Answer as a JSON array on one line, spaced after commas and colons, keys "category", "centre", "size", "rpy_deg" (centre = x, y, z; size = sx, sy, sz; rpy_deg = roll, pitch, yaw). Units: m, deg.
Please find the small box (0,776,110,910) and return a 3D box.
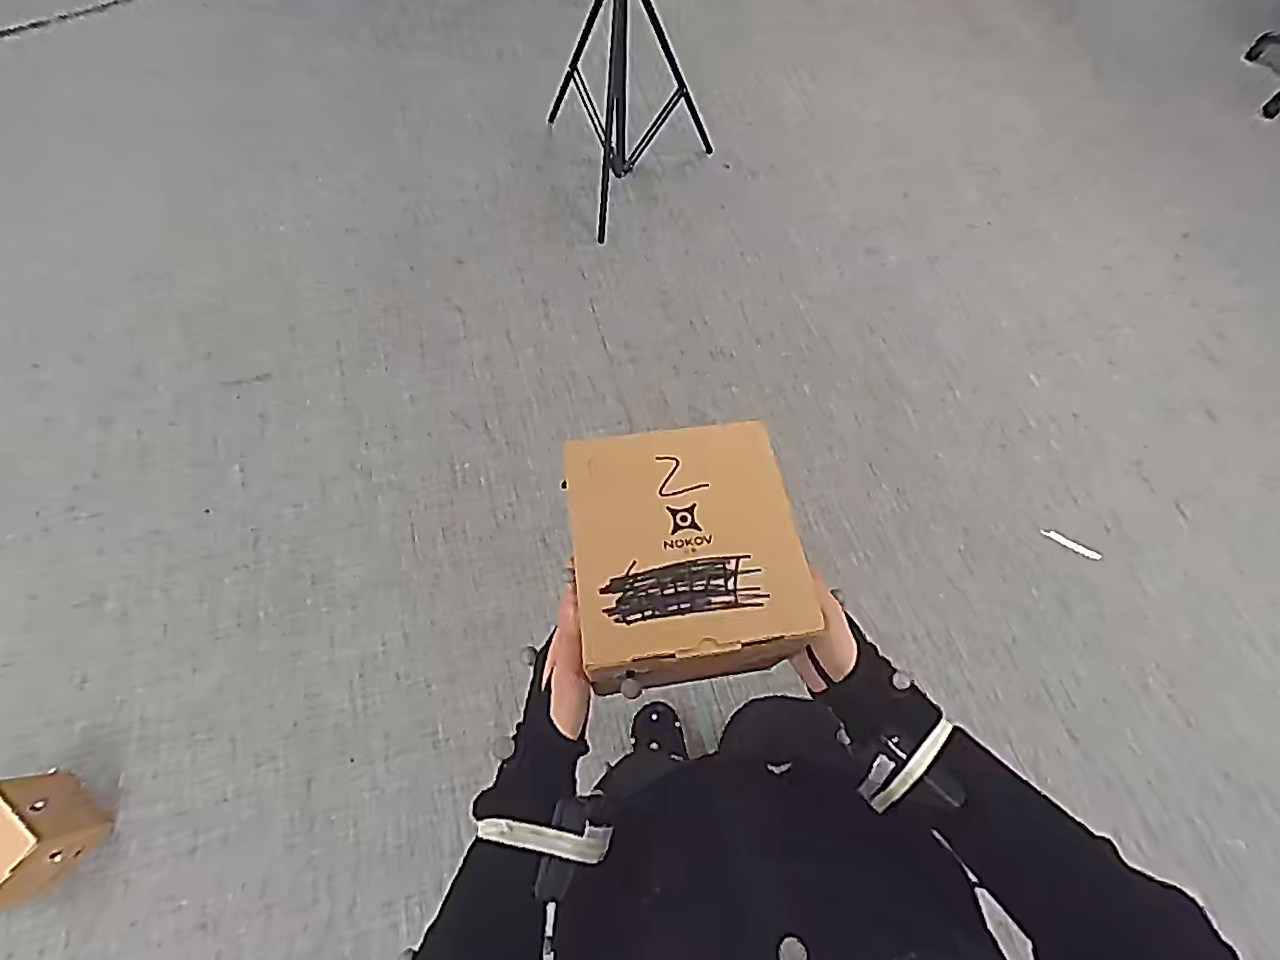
[{"category": "small box", "centre": [-1.255, 0.730, 1.093], "size": [0.179, 0.176, 0.168], "rpy_deg": [35, 70, 12]}]
